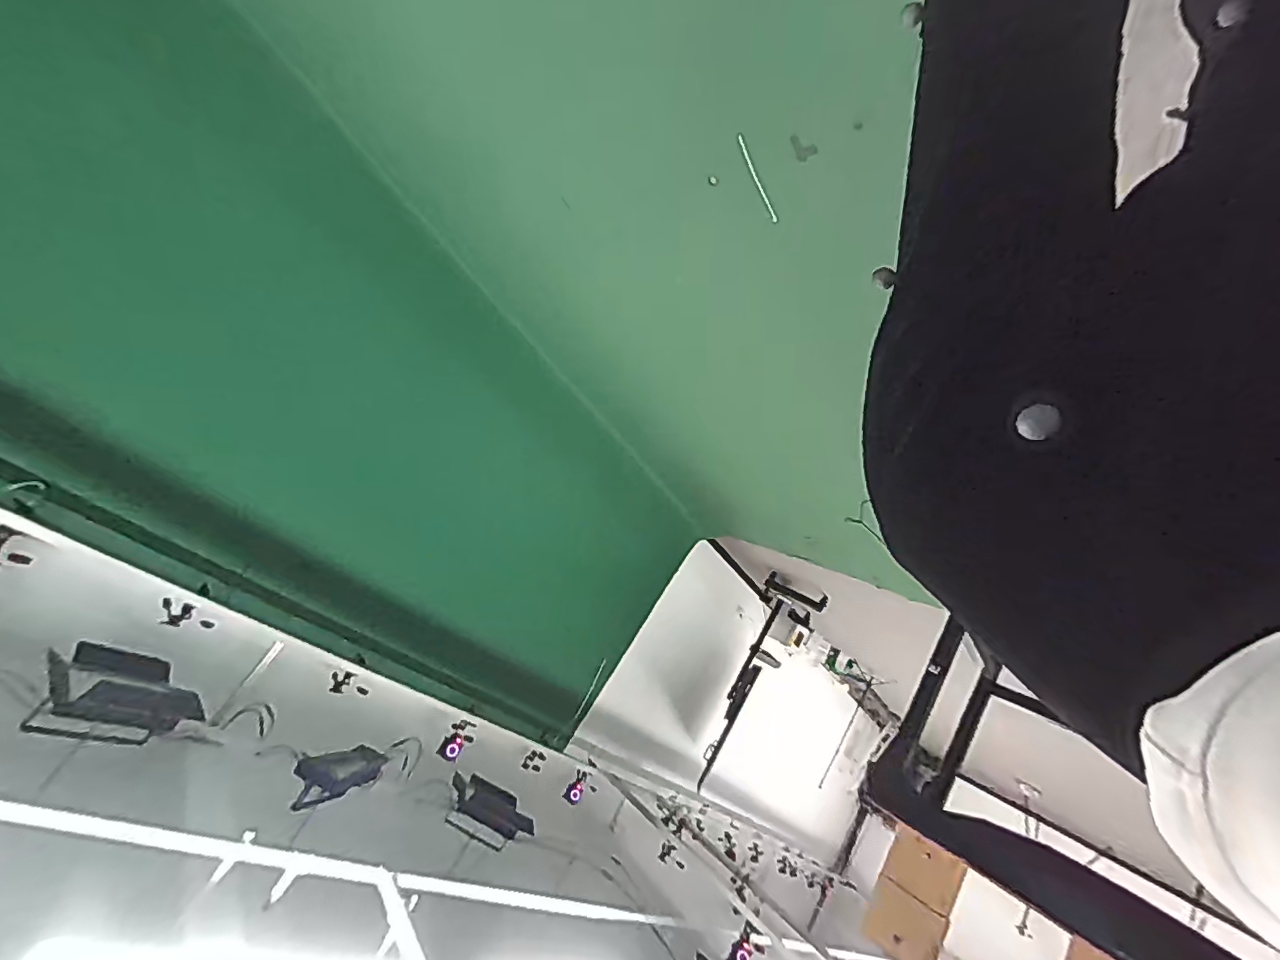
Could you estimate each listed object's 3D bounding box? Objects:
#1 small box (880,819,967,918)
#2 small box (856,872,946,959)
[{"bbox_3d":[0.861,1.171,1.635,0.168,0.176,0.179,16,154,49],"label":"small box"},{"bbox_3d":[0.769,1.297,1.579,0.179,0.176,0.168,15,154,49],"label":"small box"}]
